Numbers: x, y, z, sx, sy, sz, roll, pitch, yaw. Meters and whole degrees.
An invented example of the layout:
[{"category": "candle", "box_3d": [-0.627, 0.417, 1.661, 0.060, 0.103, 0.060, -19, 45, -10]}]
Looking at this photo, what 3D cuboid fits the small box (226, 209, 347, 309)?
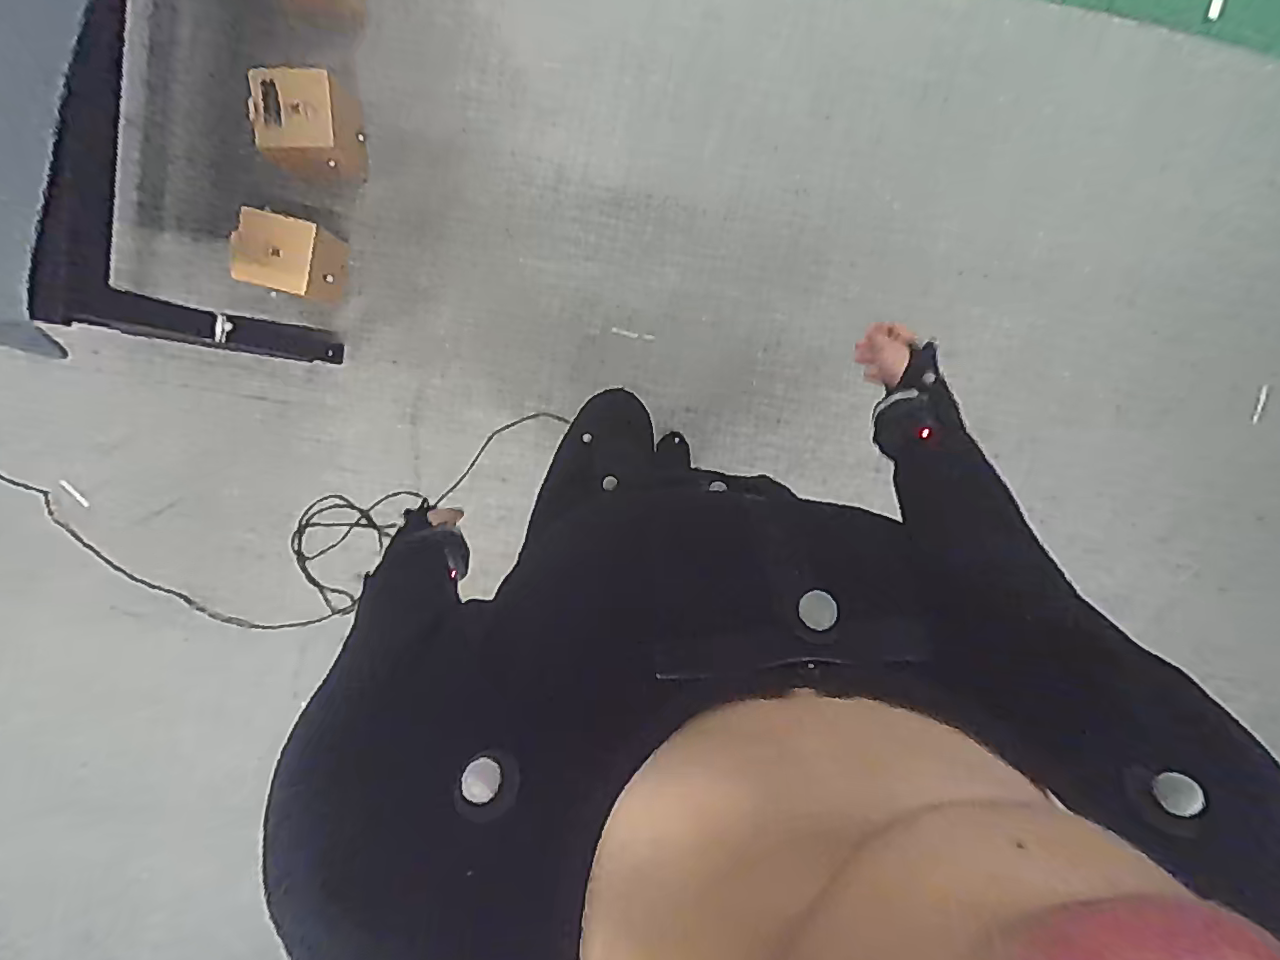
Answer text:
[{"category": "small box", "box_3d": [-0.845, -0.525, 1.310, 0.179, 0.176, 0.168, 14, 96, -3]}]
